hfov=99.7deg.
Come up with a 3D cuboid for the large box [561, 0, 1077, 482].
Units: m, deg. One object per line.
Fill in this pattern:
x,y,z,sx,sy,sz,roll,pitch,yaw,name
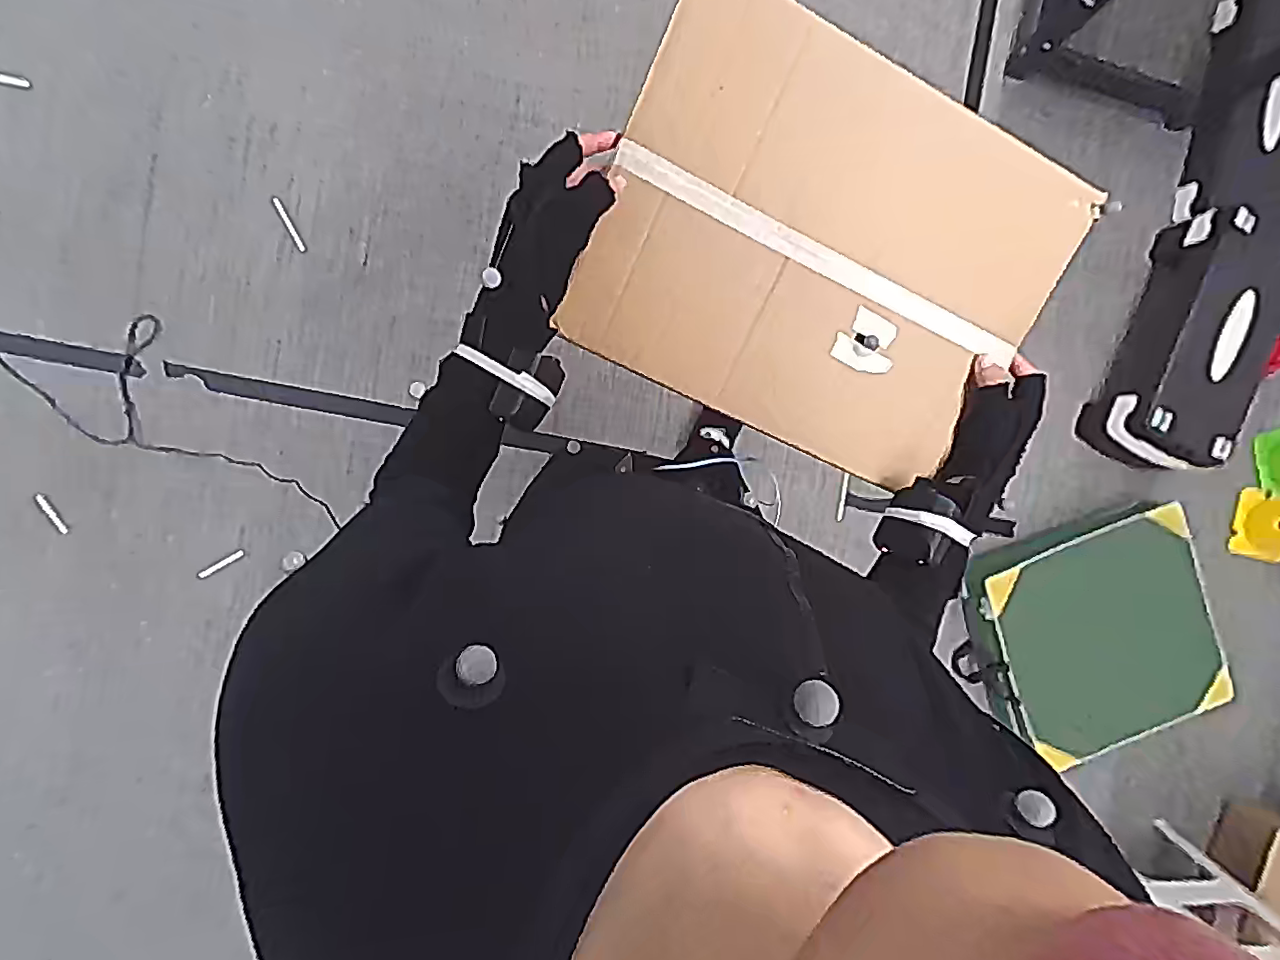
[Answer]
0.153,-0.243,0.640,0.408,0.320,0.320,23,103,-10,large box
